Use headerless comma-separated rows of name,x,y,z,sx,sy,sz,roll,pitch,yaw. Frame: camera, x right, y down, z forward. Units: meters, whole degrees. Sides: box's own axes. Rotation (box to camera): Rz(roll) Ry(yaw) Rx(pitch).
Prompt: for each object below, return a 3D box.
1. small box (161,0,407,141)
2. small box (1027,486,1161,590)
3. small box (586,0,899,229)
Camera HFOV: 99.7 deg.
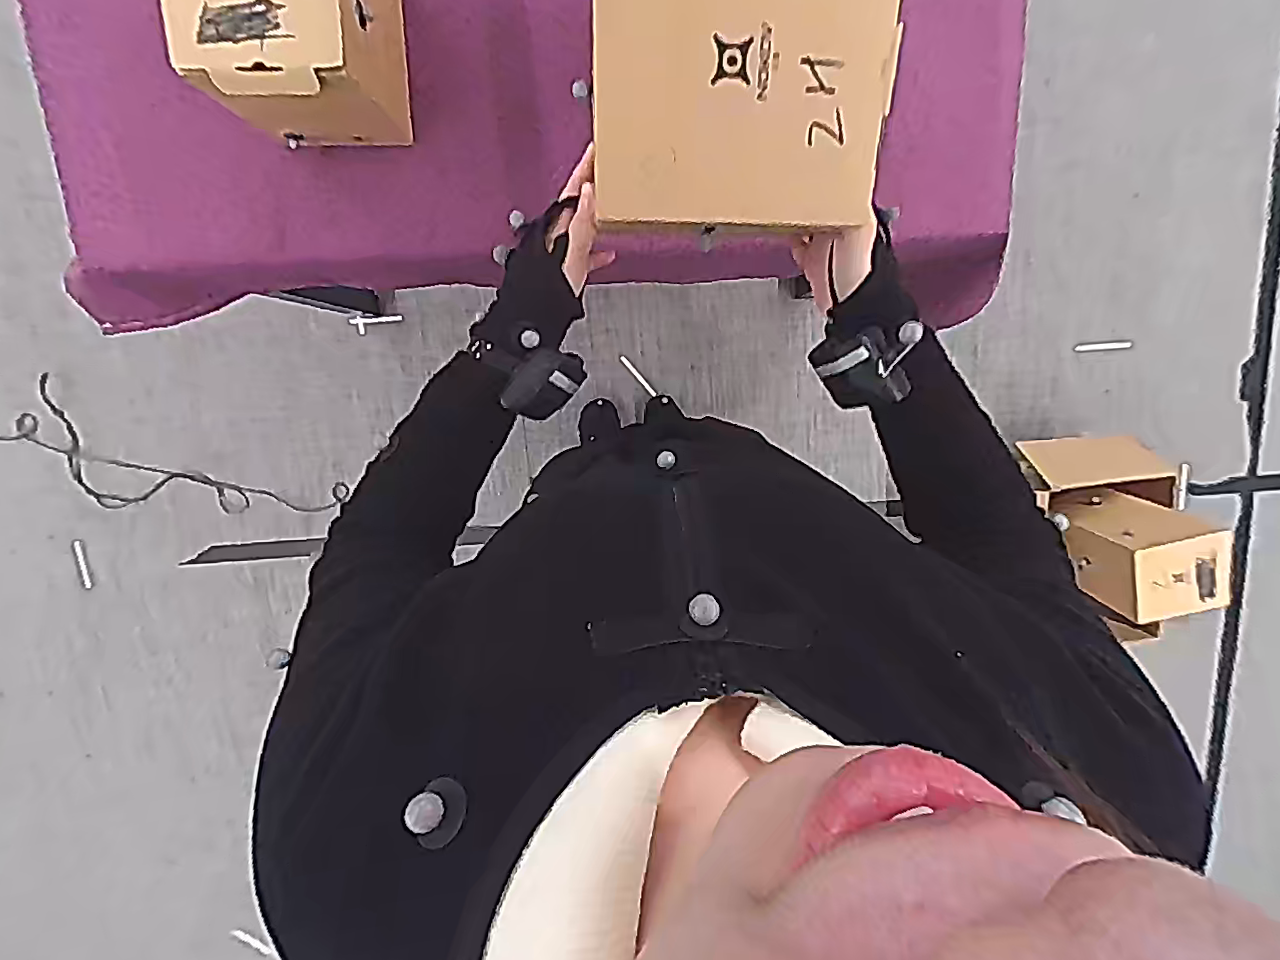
small box,-0.365,-0.488,0.578,0.168,0.176,0.179,-1,100,-2
small box,1.076,0.128,1.296,0.168,0.176,0.179,-25,104,7
small box,0.053,-0.272,0.379,0.179,0.176,0.168,0,112,-4
